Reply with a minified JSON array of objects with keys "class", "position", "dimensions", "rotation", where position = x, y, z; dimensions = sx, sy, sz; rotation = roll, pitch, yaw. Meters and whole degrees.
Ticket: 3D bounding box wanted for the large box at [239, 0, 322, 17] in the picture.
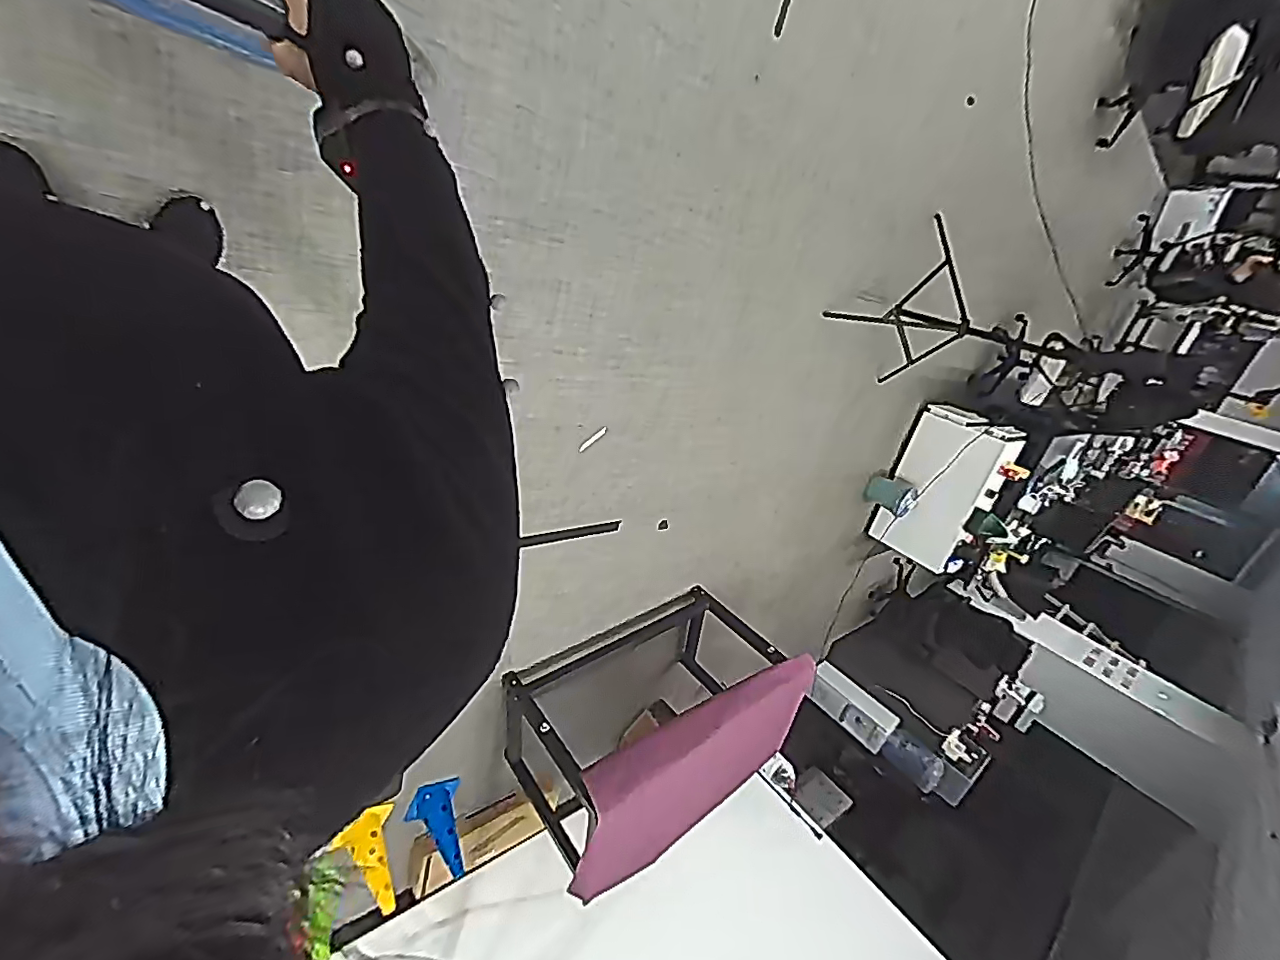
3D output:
[{"class":"large box","position":[-0.622,-0.846,0.641],"dimensions":[0.408,0.320,0.320],"rotation":[-2,120,-44]}]
